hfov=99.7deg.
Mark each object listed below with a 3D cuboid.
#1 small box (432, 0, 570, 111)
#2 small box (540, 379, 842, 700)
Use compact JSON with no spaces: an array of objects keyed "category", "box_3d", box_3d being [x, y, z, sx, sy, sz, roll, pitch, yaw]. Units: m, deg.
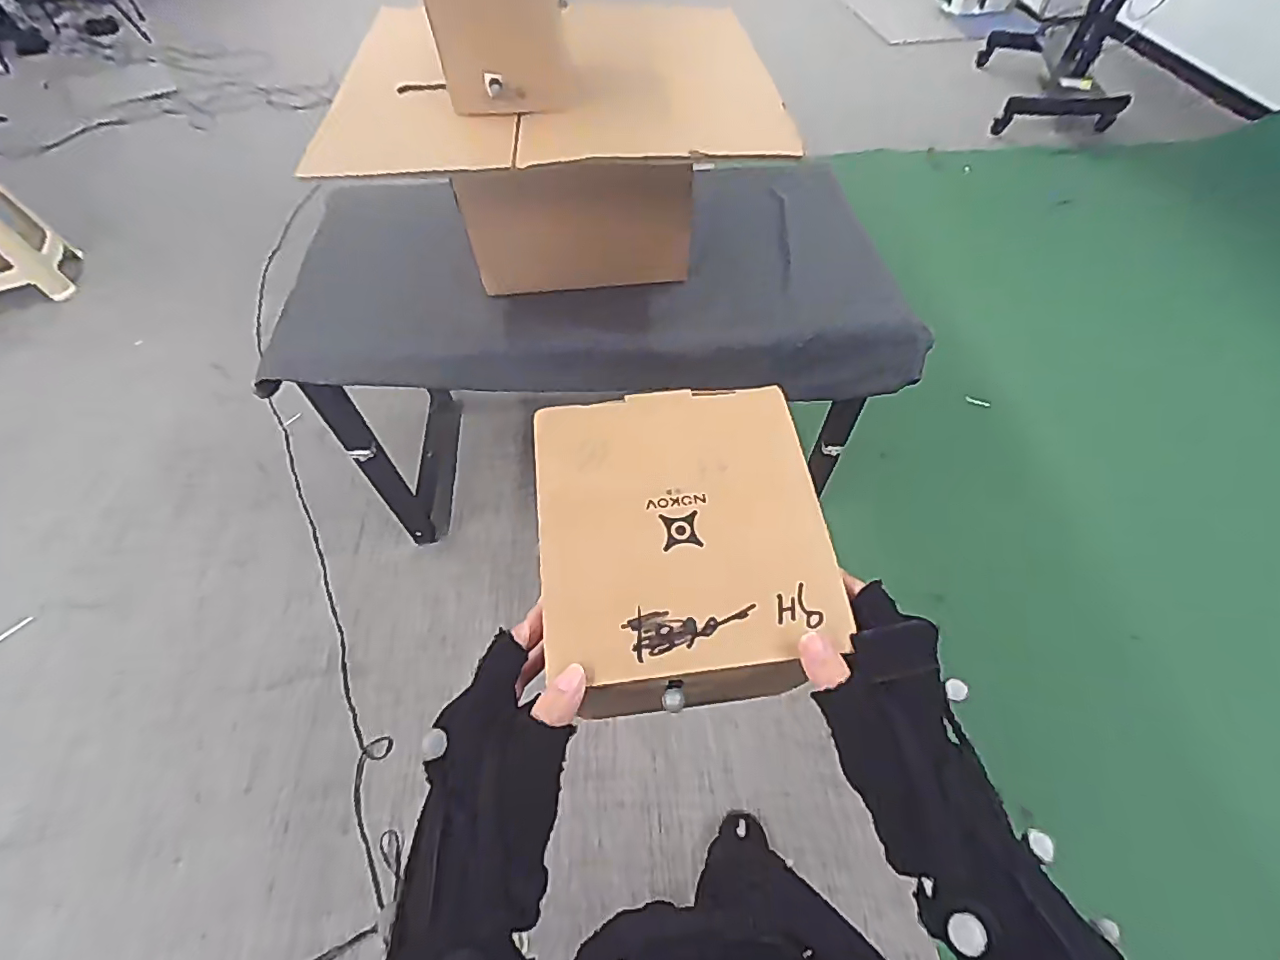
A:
[{"category":"small box","box_3d":[-0.195,-0.666,0.783,0.168,0.176,0.179,-5,58,-1]},{"category":"small box","box_3d":[0.020,0.051,0.399,0.168,0.176,0.179,-6,61,-3]}]
